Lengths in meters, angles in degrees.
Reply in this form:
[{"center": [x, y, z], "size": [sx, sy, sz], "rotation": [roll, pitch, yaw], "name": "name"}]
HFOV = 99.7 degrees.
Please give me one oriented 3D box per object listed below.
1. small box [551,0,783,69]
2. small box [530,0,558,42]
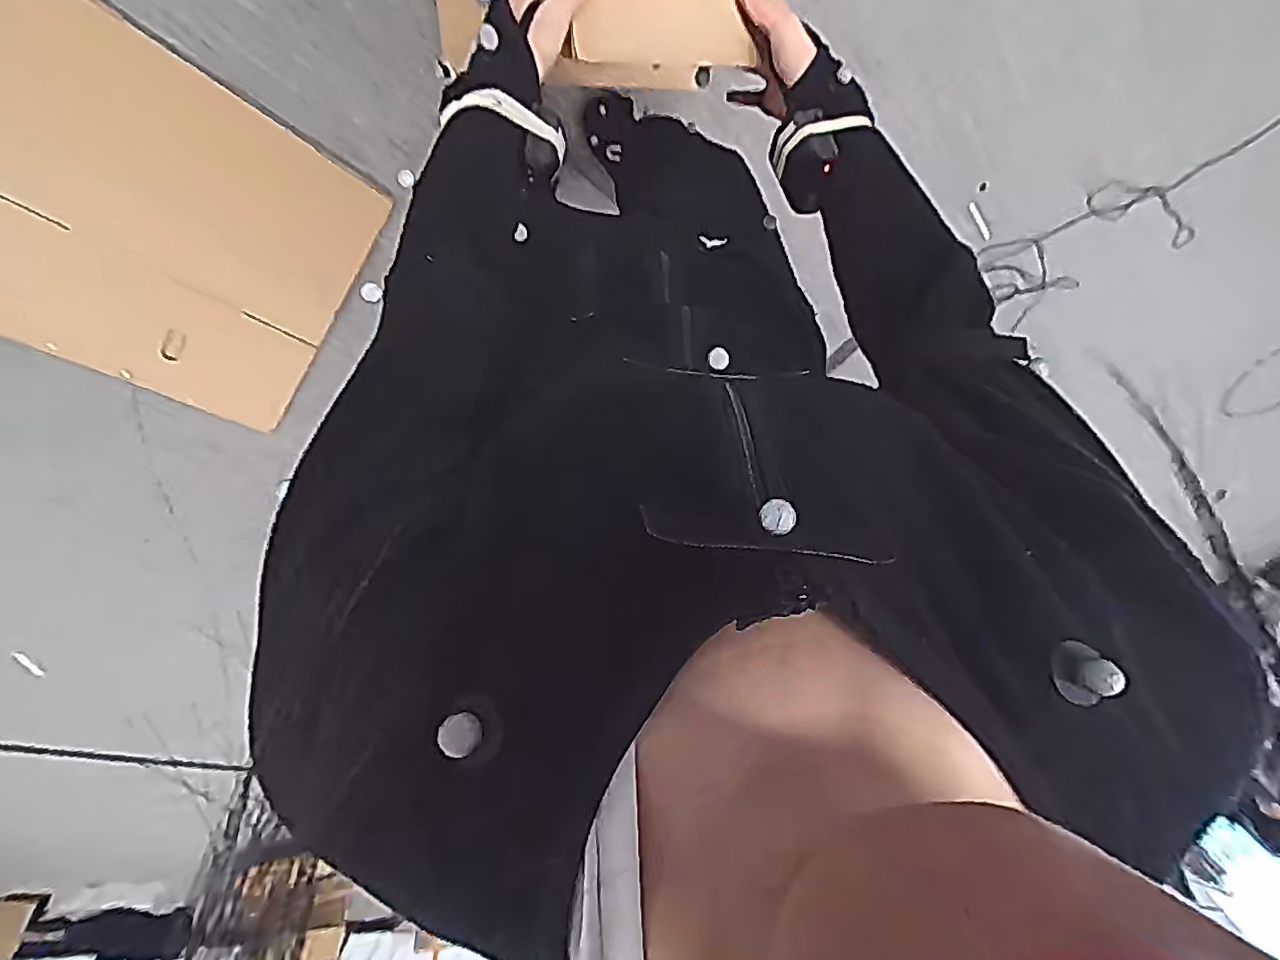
[{"center": [0.018, -0.470, 0.469], "size": [0.179, 0.176, 0.168], "rotation": [-7, 131, -12], "name": "small box"}, {"center": [-0.057, -0.680, 0.711], "size": [0.179, 0.176, 0.168], "rotation": [-8, 132, -12], "name": "small box"}]
